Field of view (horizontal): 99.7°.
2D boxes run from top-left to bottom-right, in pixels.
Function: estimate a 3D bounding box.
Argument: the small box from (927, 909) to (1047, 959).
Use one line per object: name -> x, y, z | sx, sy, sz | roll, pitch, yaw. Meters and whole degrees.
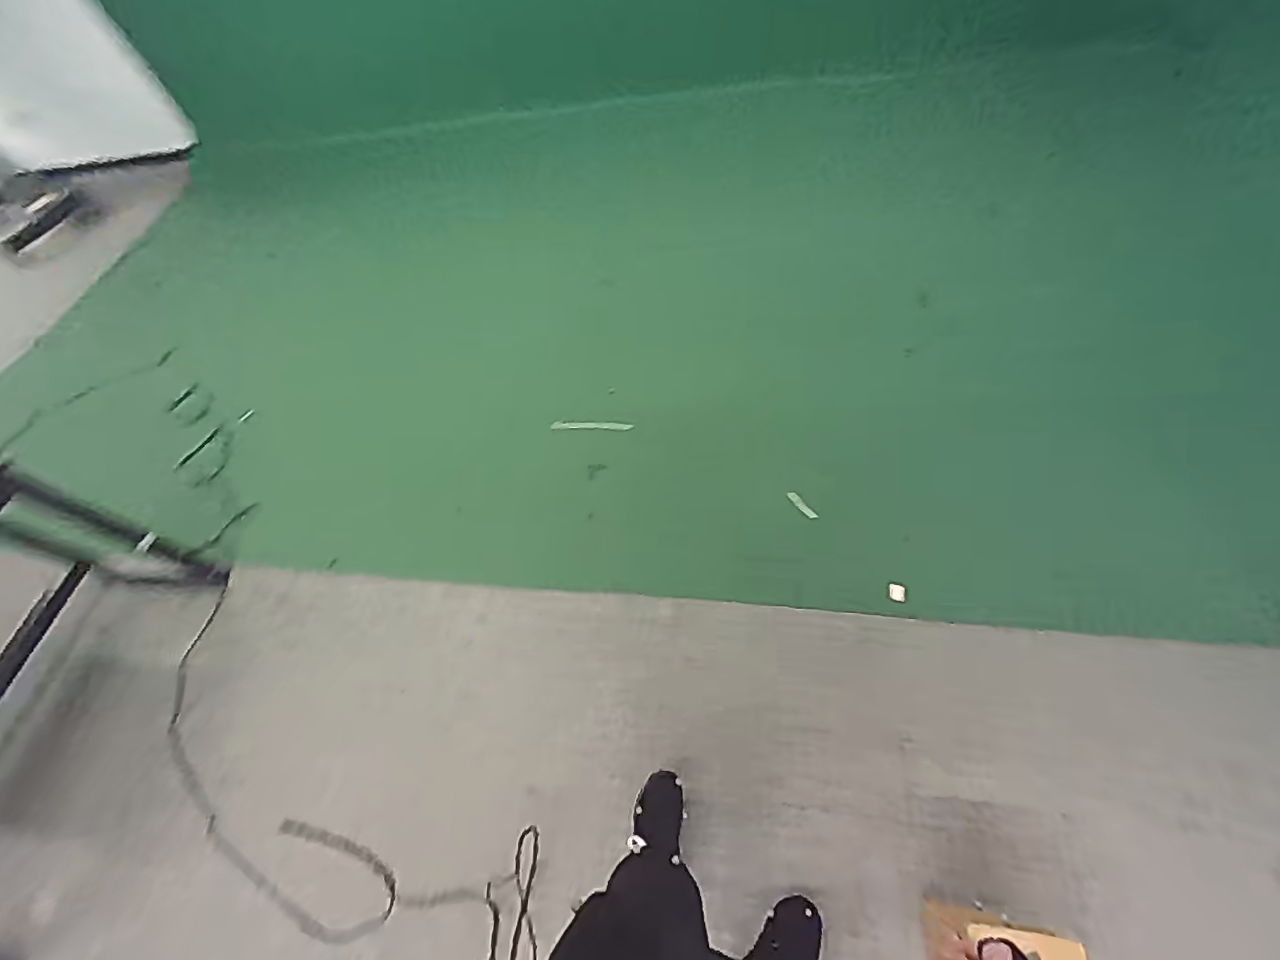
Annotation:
small box -> 0.678, 0.969, 1.058 | 0.168, 0.176, 0.179 | 2, 59, 13
